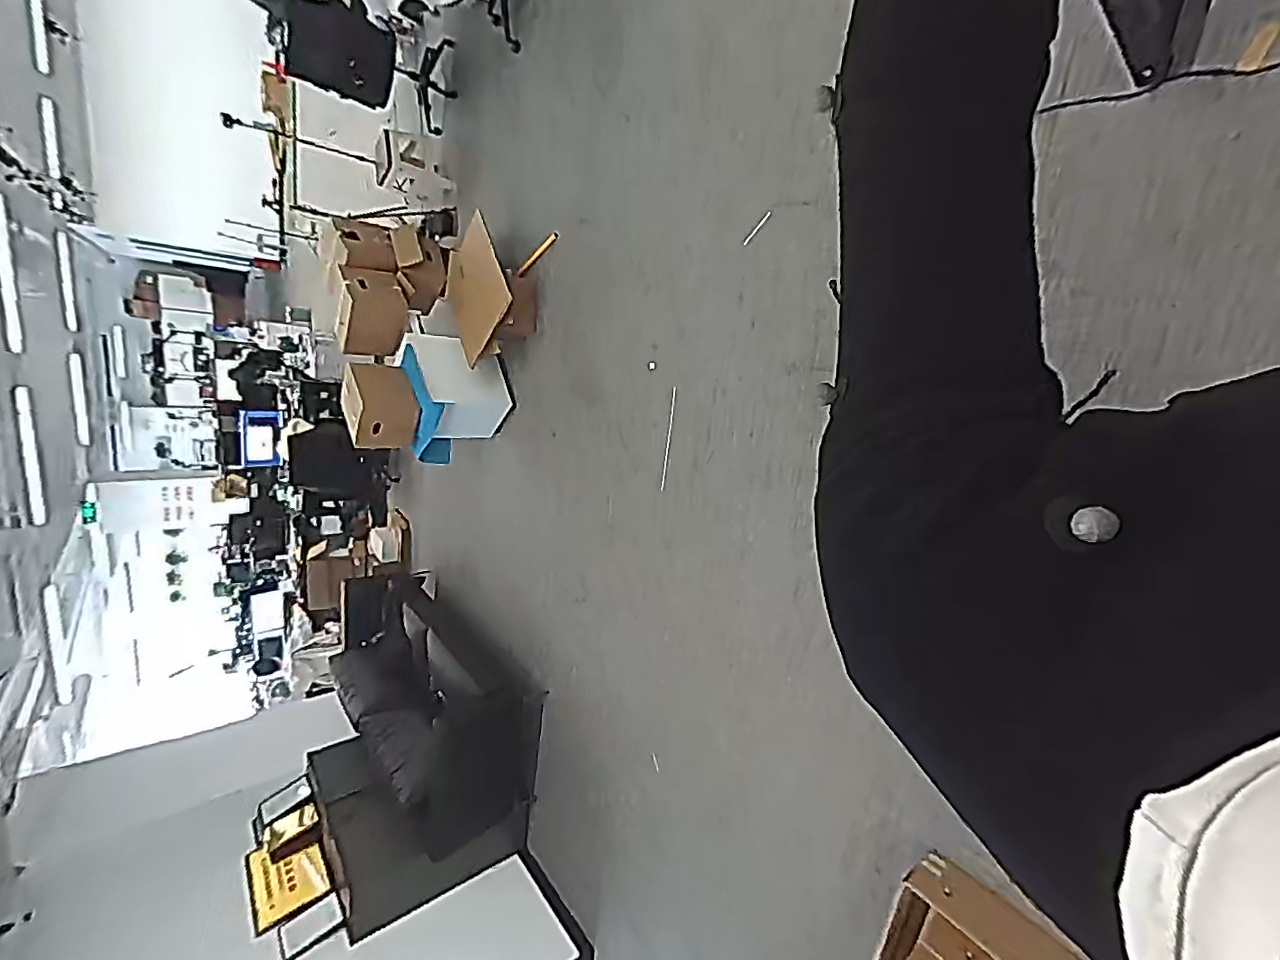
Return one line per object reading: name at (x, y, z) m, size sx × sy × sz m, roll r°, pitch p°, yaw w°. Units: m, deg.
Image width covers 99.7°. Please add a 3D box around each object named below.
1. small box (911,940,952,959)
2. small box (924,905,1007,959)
small box at (0.755, 1.350, 1.379) m, size 0.168 × 0.176 × 0.179 m, roll 25°, pitch 111°, yaw 44°
small box at (0.878, 1.336, 1.486) m, size 0.168 × 0.176 × 0.179 m, roll 22°, pitch 110°, yaw 46°
